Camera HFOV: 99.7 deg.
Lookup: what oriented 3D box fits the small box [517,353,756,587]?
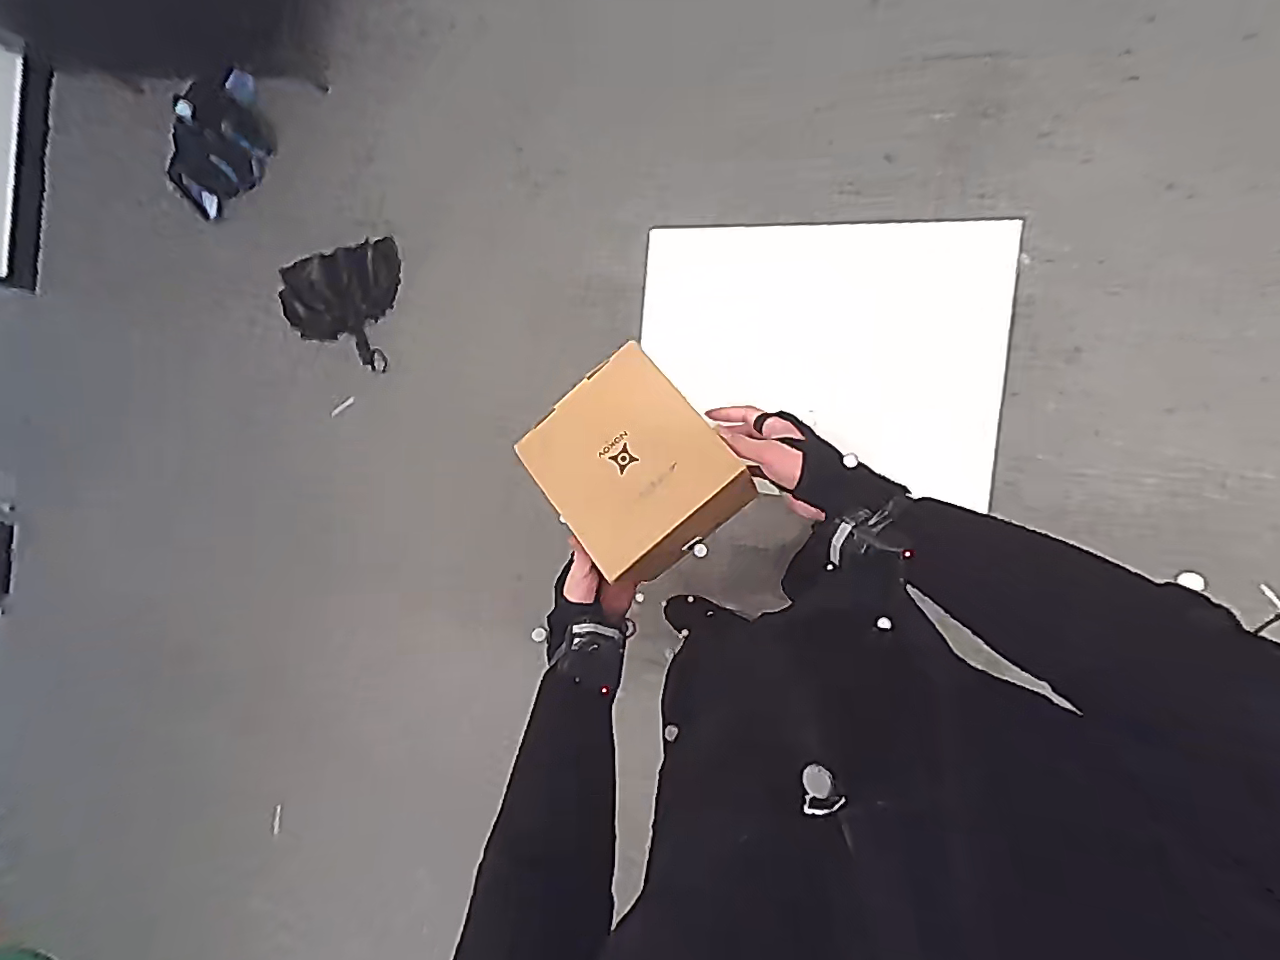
[{"bbox_3d":[0.006,0.002,0.593,0.168,0.176,0.179,-41,71,8],"label":"small box"}]
